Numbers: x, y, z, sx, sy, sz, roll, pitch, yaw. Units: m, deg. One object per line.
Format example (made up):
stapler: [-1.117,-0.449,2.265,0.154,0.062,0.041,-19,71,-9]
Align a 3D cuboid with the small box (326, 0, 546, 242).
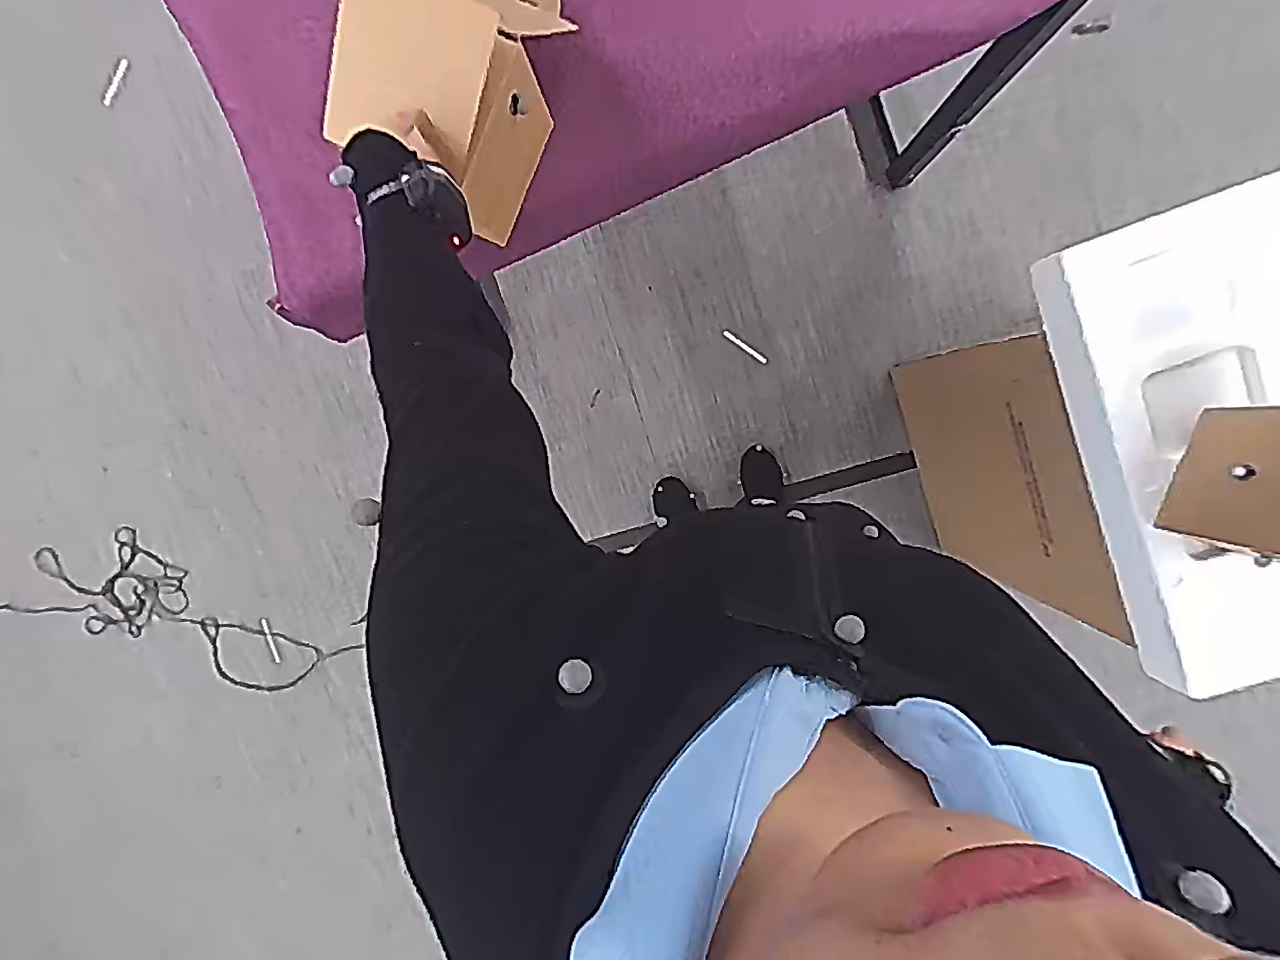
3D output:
small box: [-0.228,-0.426,0.655,0.168,0.176,0.179,25,97,1]
